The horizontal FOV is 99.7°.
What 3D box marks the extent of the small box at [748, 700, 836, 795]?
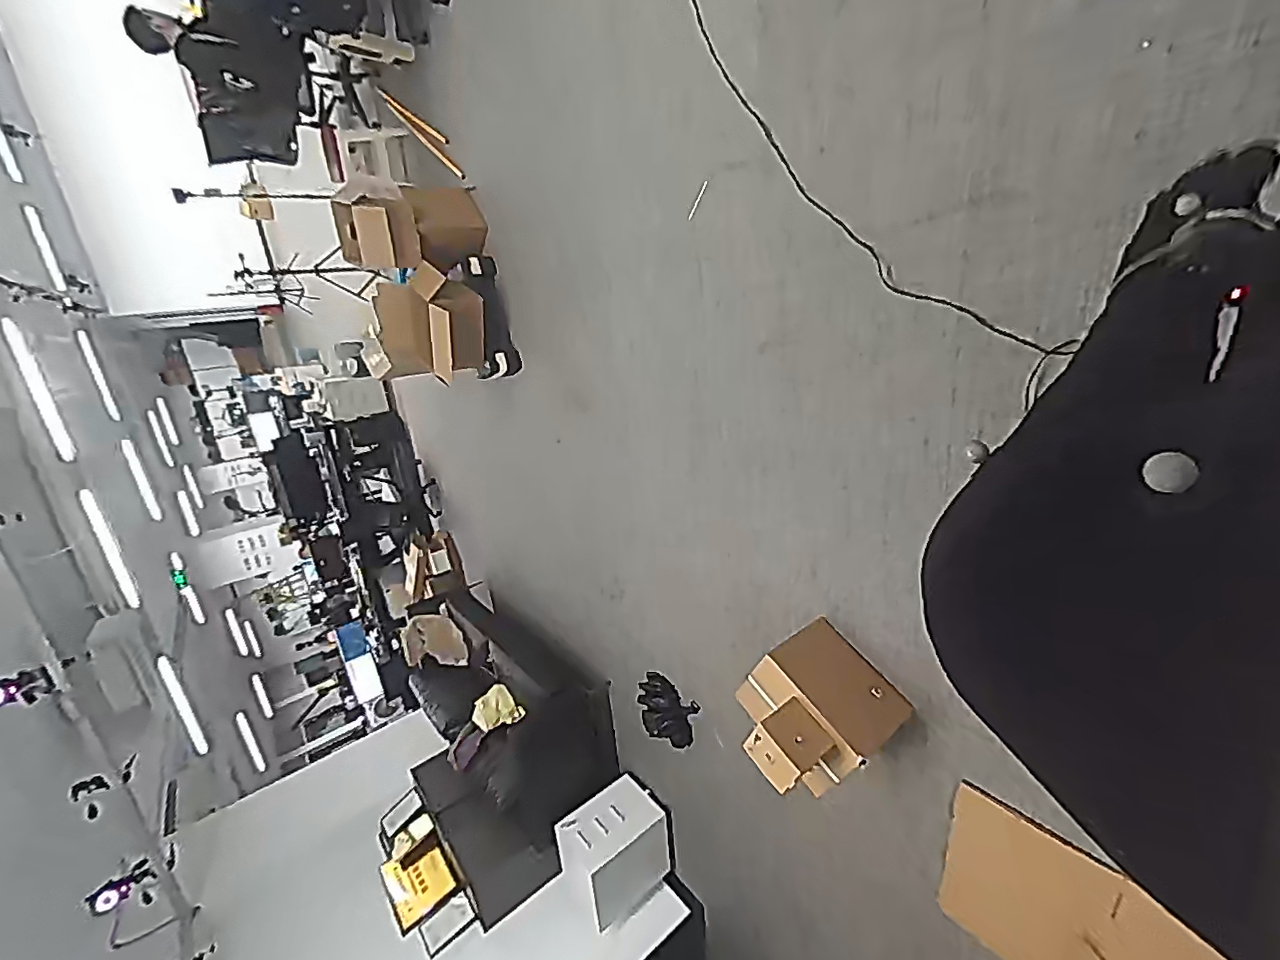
[{"bbox_3d":[0.473,0.824,1.677,0.179,0.176,0.168,44,139,35],"label":"small box"}]
